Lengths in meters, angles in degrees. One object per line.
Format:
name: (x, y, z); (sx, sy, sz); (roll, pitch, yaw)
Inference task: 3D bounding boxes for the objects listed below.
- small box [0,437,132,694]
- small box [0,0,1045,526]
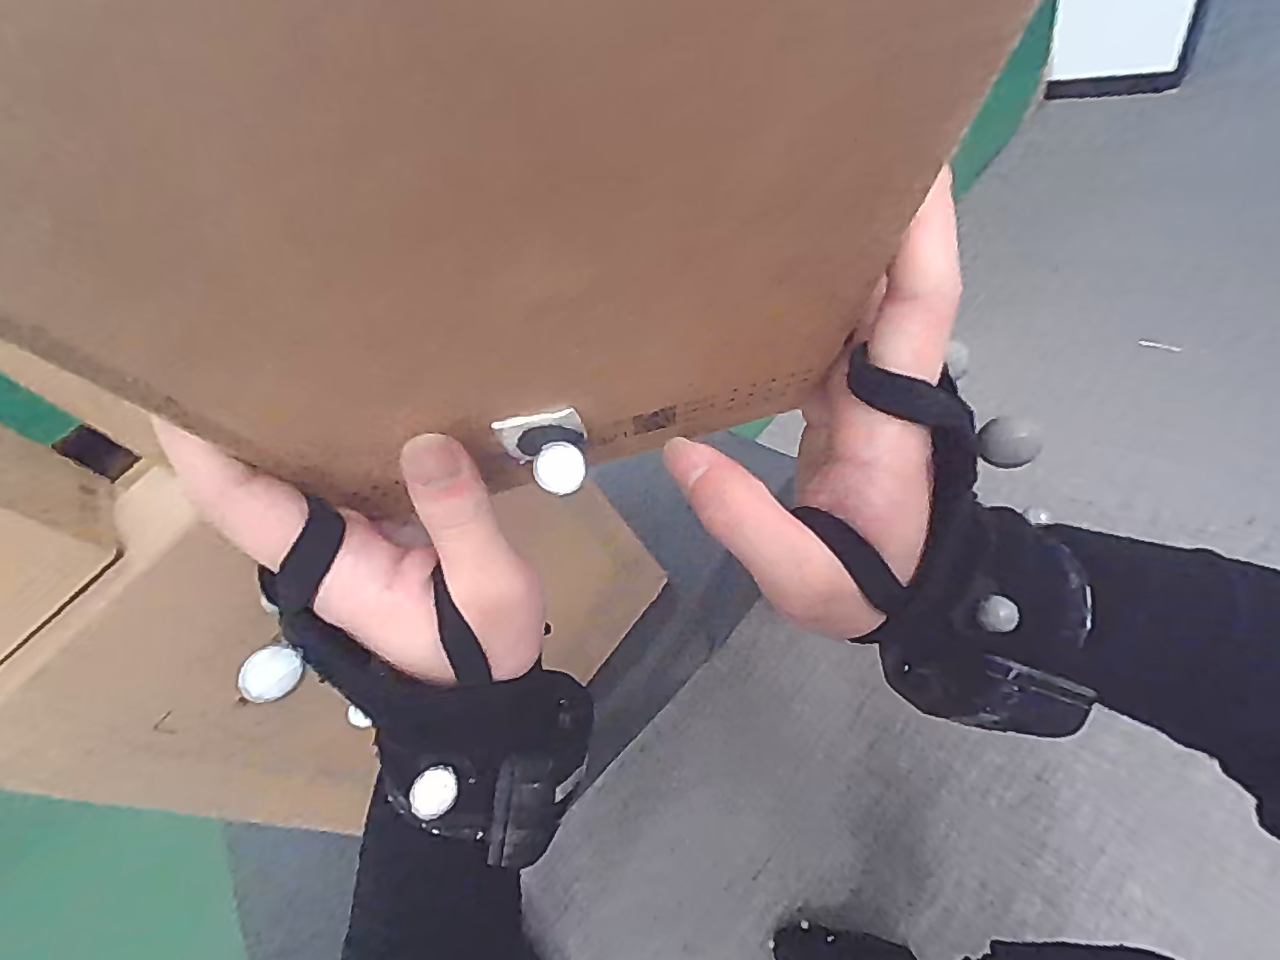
small box: (-0.550, 0.065, 0.414); (0.168, 0.176, 0.179); (28, 72, 40)
small box: (-0.038, -0.106, 0.160); (0.168, 0.176, 0.179); (-17, 71, -2)
